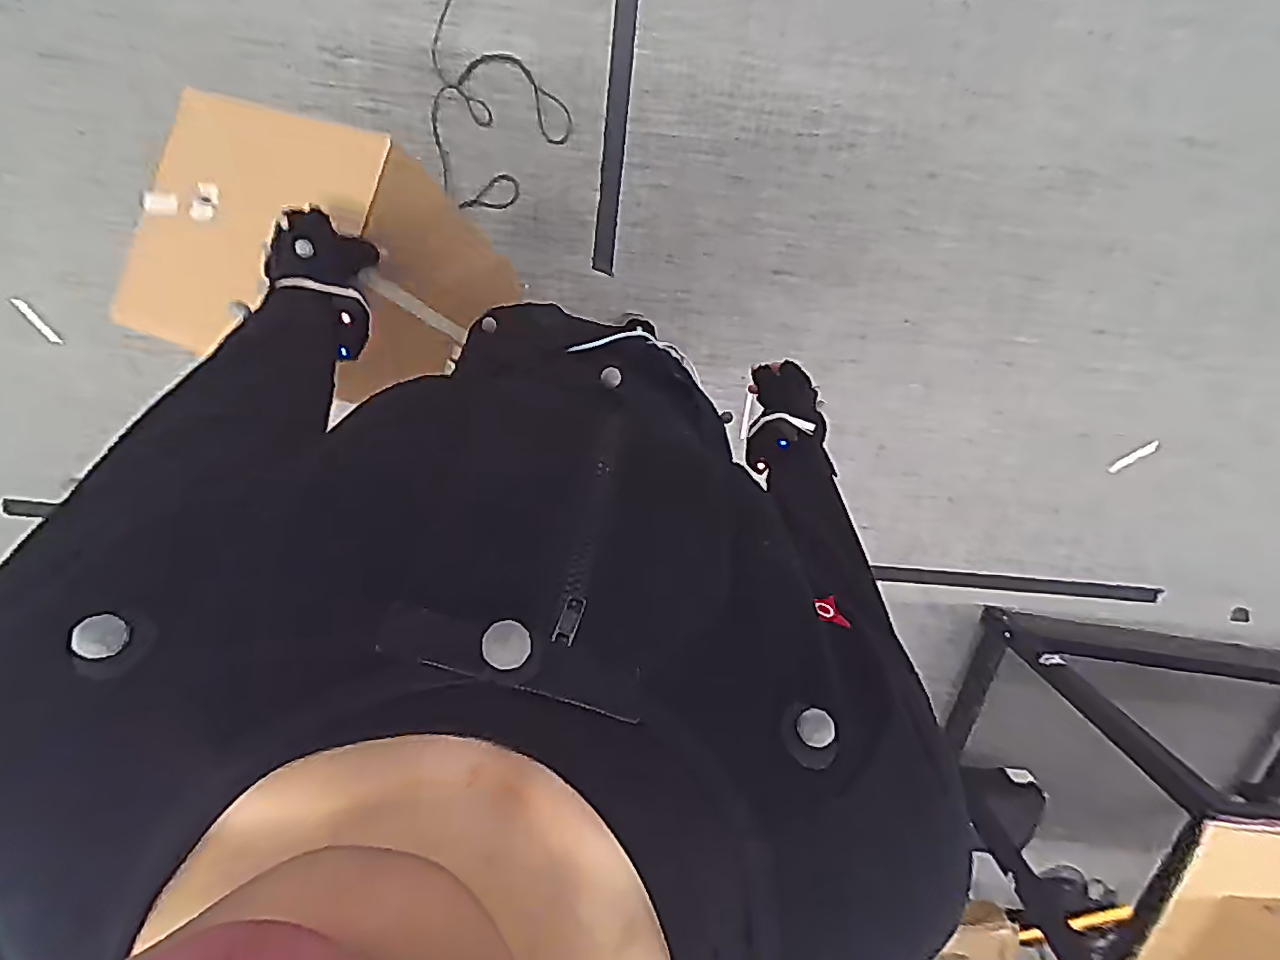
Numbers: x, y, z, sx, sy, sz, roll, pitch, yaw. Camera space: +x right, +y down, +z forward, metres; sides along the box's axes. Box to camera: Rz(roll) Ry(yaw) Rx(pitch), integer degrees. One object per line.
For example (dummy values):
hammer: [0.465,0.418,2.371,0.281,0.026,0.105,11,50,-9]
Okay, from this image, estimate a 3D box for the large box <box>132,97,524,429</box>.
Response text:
large box: [-0.438,-0.293,0.854,0.320,0.408,0.320,21,90,8]
